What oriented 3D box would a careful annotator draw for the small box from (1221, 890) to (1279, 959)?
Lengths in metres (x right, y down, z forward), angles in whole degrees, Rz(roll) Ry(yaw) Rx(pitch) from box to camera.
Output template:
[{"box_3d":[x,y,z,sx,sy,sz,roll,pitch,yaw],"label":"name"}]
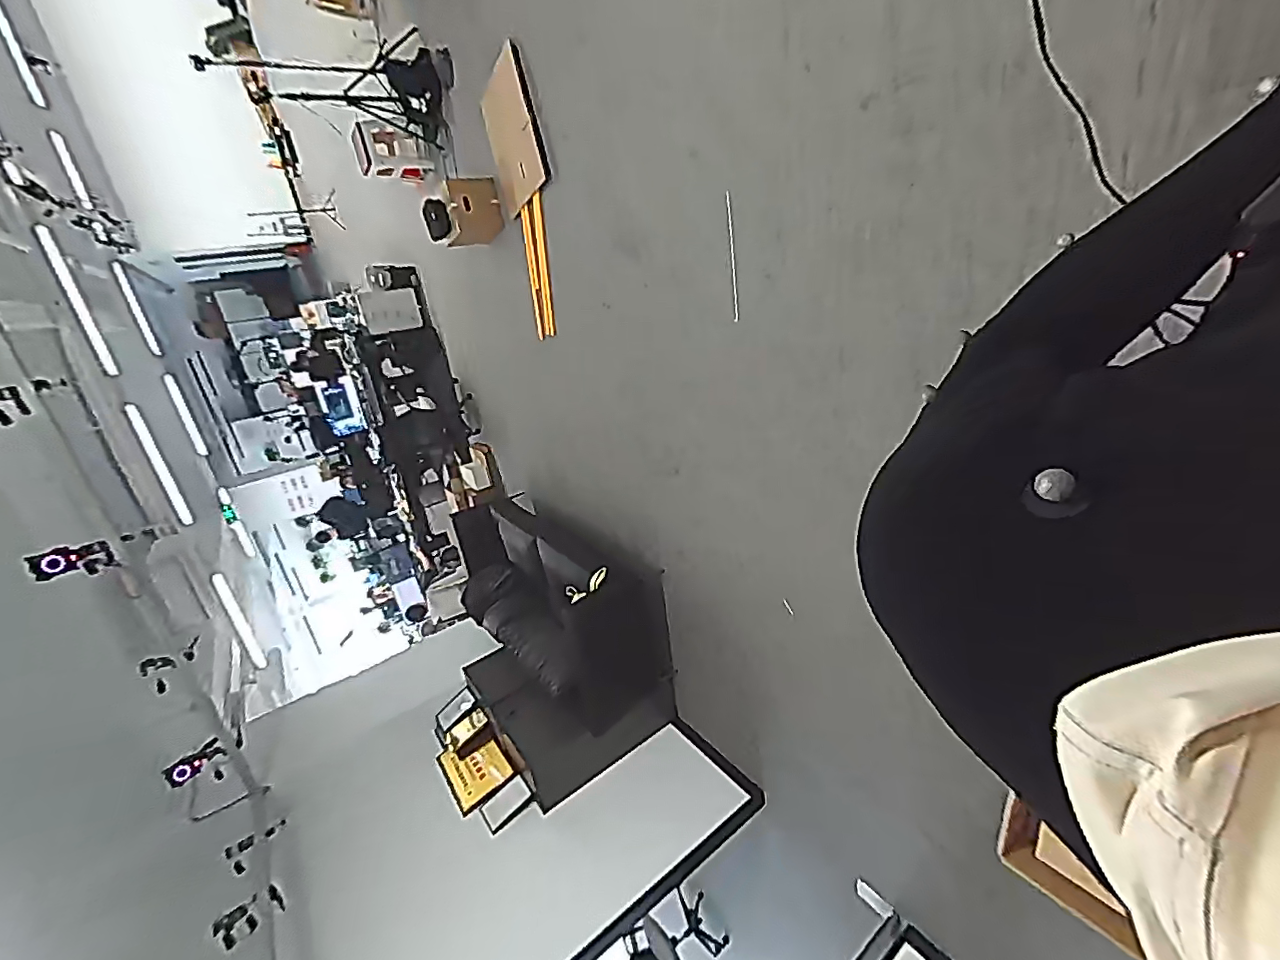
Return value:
[{"box_3d":[1.191,0.911,0.978,0.168,0.176,0.179,24,129,49],"label":"small box"}]
